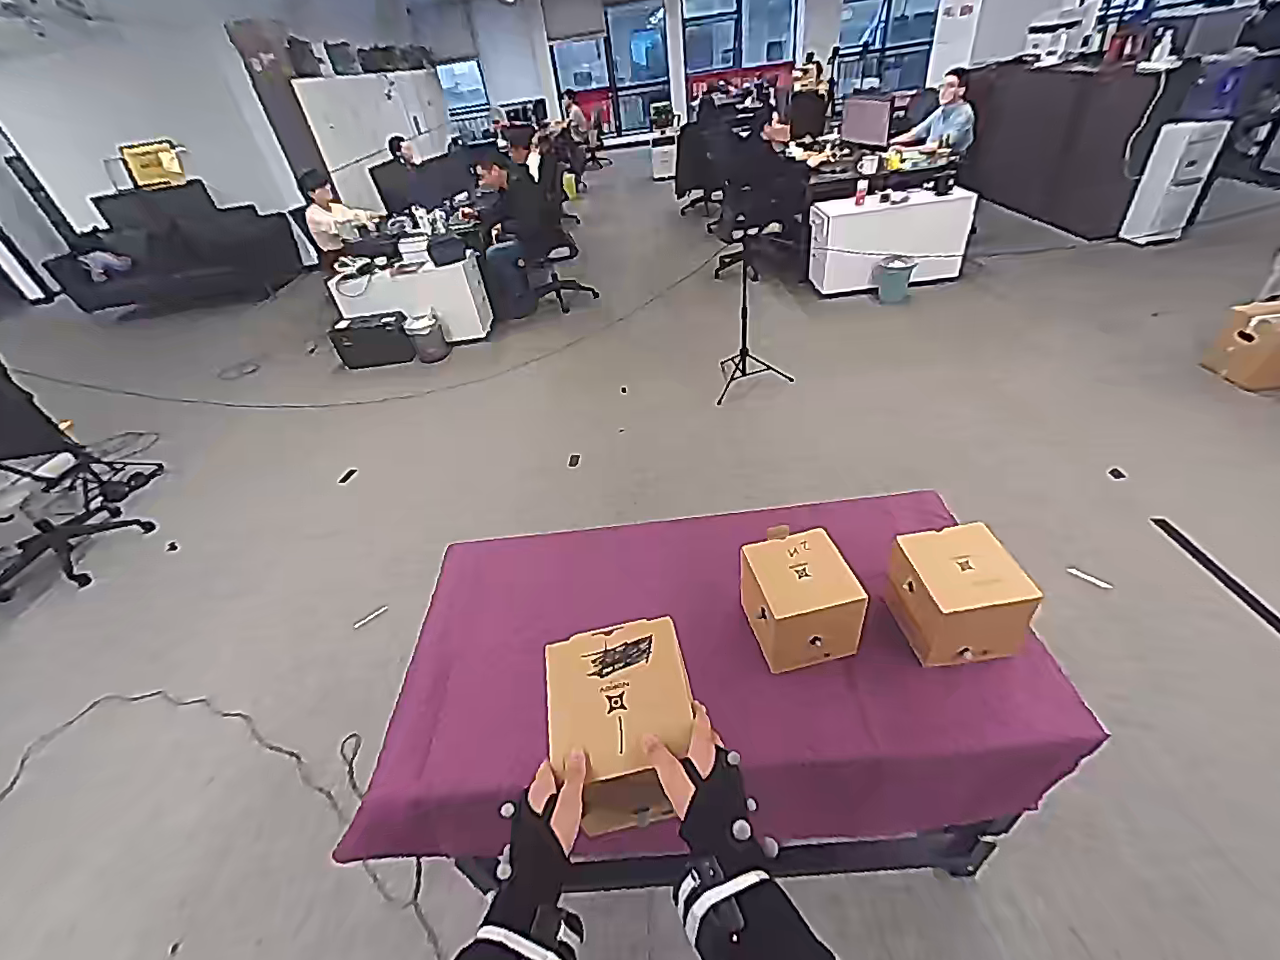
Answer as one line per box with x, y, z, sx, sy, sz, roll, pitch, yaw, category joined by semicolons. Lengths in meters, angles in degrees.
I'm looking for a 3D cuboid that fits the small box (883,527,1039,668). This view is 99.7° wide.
0.565;0.212;0.984;0.168;0.176;0.179;-9;38;1;small box

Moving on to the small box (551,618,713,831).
-0.011;0.307;0.682;0.168;0.176;0.179;-14;42;1;small box

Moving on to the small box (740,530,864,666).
0.295;0.227;1.016;0.168;0.176;0.179;-12;38;-4;small box
